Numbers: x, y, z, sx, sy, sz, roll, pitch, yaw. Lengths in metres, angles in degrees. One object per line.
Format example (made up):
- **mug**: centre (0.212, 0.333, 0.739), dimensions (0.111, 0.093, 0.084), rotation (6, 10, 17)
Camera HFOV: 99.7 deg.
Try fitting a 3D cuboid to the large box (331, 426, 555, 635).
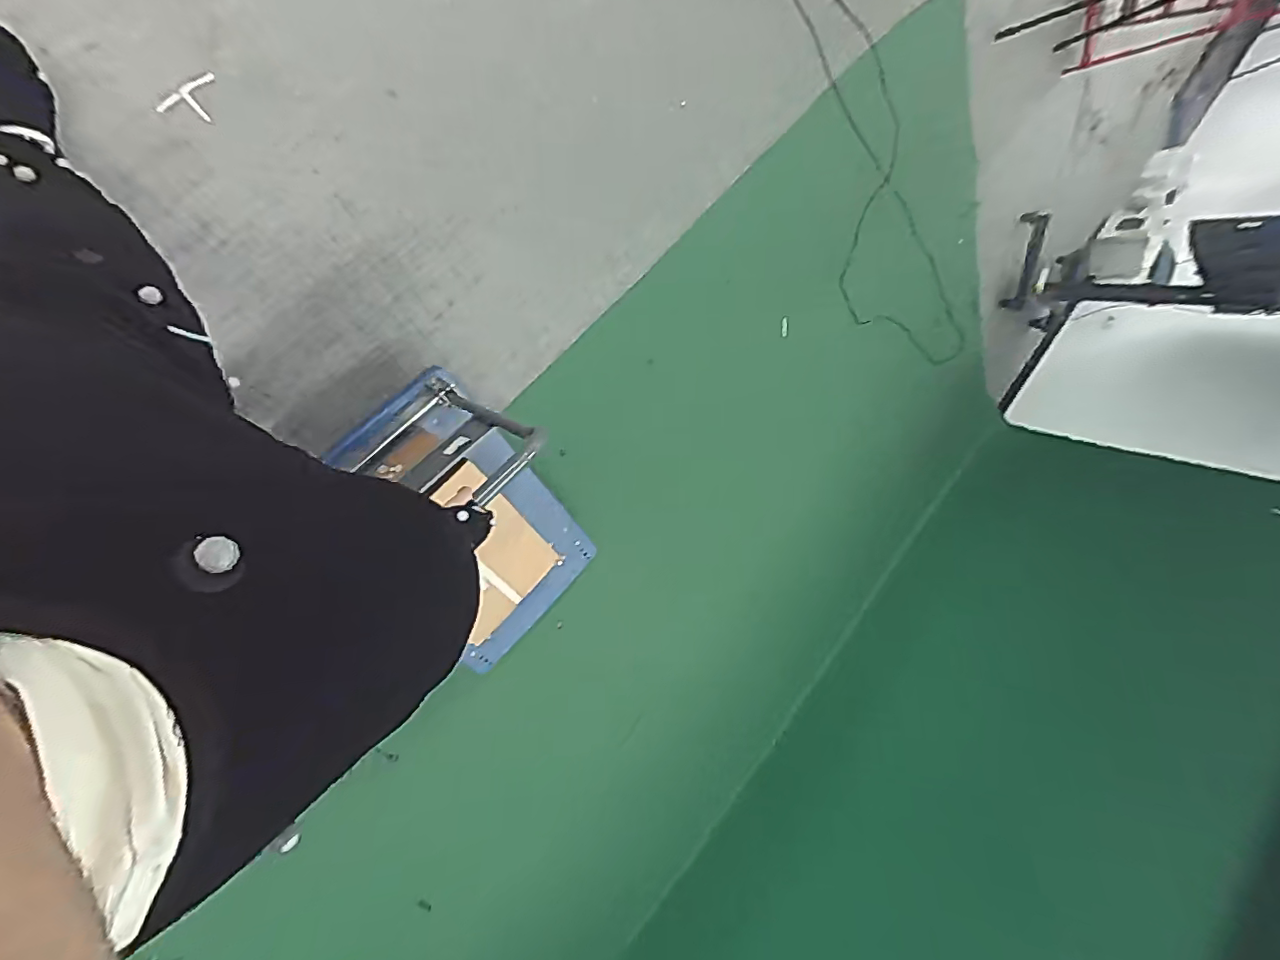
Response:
- **large box**: centre (-0.507, 0.125, 1.414), dimensions (0.320, 0.320, 0.408), rotation (-46, 132, -15)
